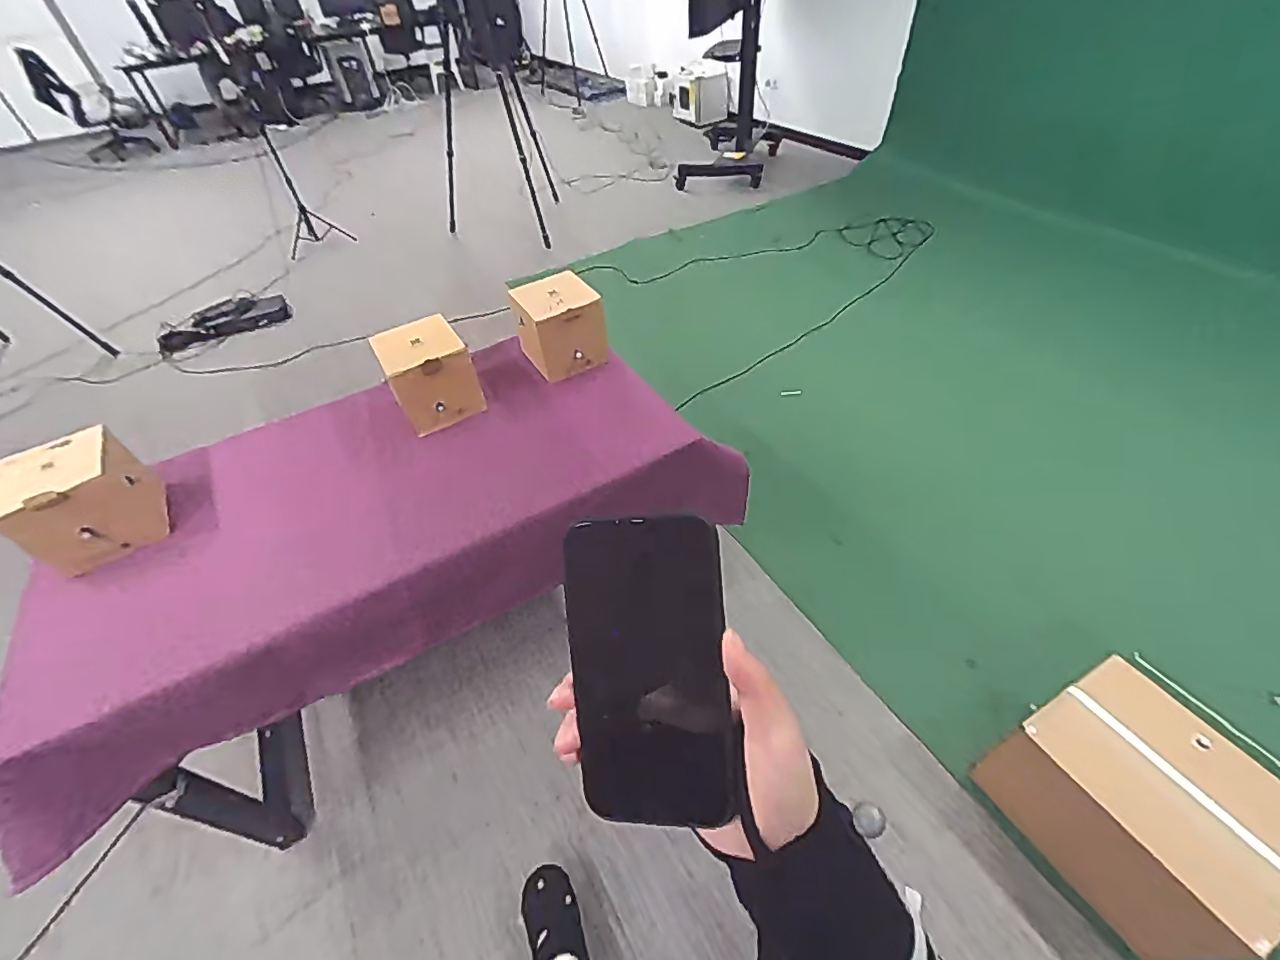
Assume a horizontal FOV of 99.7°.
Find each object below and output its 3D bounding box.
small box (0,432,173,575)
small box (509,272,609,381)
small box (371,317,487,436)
[{"bbox_3d":[-1.005,0.049,0.992,0.168,0.176,0.179,-29,52,-21],"label":"small box"},{"bbox_3d":[-0.190,-0.364,1.289,0.168,0.176,0.179,-27,50,-17],"label":"small box"},{"bbox_3d":[-0.462,-0.228,1.196,0.168,0.176,0.179,-28,51,-19],"label":"small box"}]
